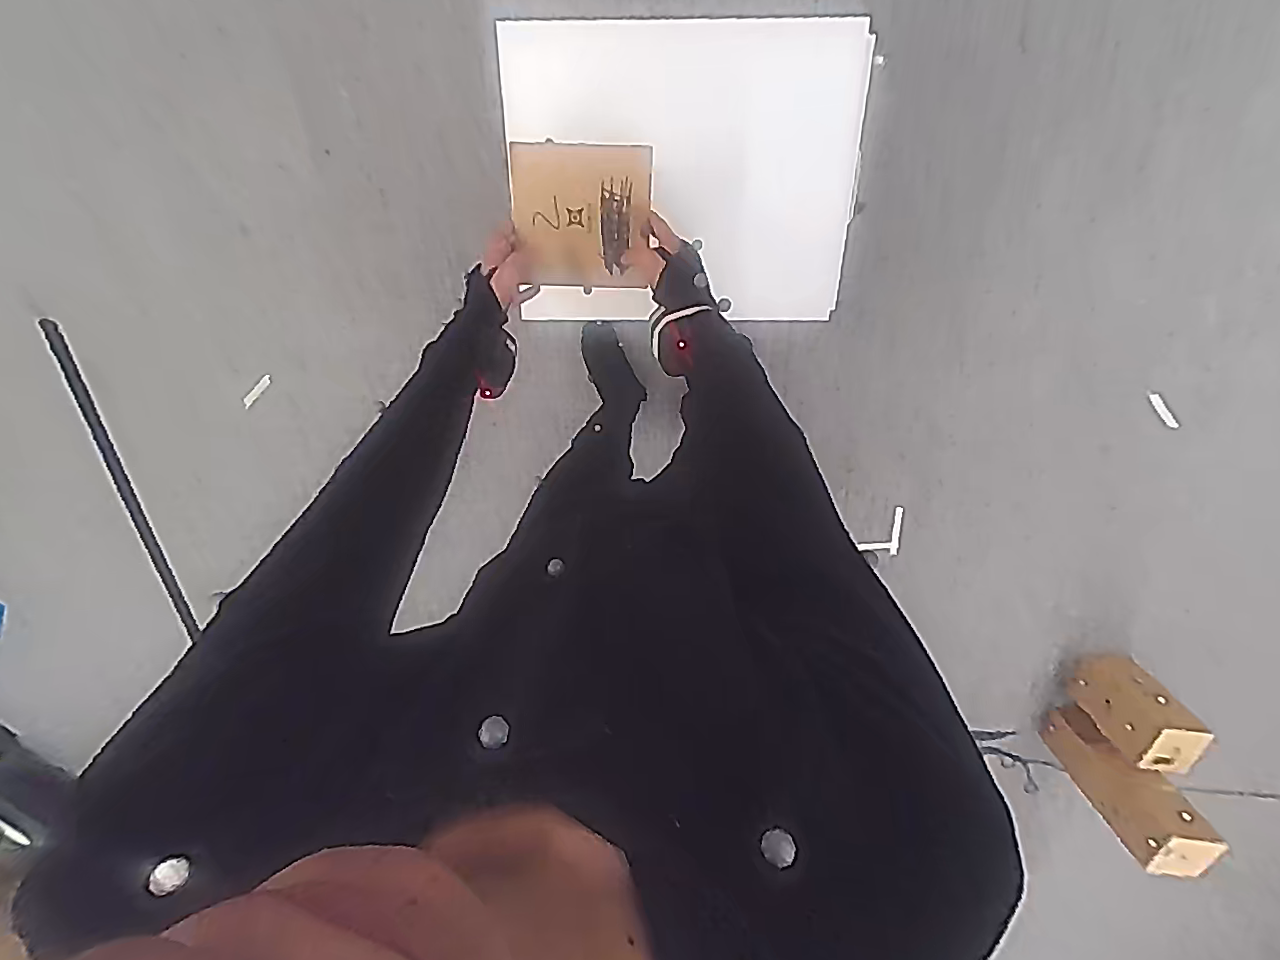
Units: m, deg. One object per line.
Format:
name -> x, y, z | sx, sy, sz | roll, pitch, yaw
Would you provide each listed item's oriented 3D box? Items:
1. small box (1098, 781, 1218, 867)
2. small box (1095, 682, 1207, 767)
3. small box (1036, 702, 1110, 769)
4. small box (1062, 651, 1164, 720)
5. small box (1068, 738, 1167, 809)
small box -> 1.619, 1.078, 1.702 | 0.179, 0.176, 0.168 | 7, 115, -4
small box -> 1.628, 0.784, 1.740 | 0.168, 0.176, 0.179 | 7, 114, -3
small box -> 1.625, 0.942, 1.999 | 0.179, 0.176, 0.168 | 0, 114, 1
small box -> 1.644, 0.720, 1.892 | 0.179, 0.176, 0.168 | 4, 115, -1
small box -> 1.623, 1.011, 1.852 | 0.168, 0.176, 0.179 | 1, 115, 0
